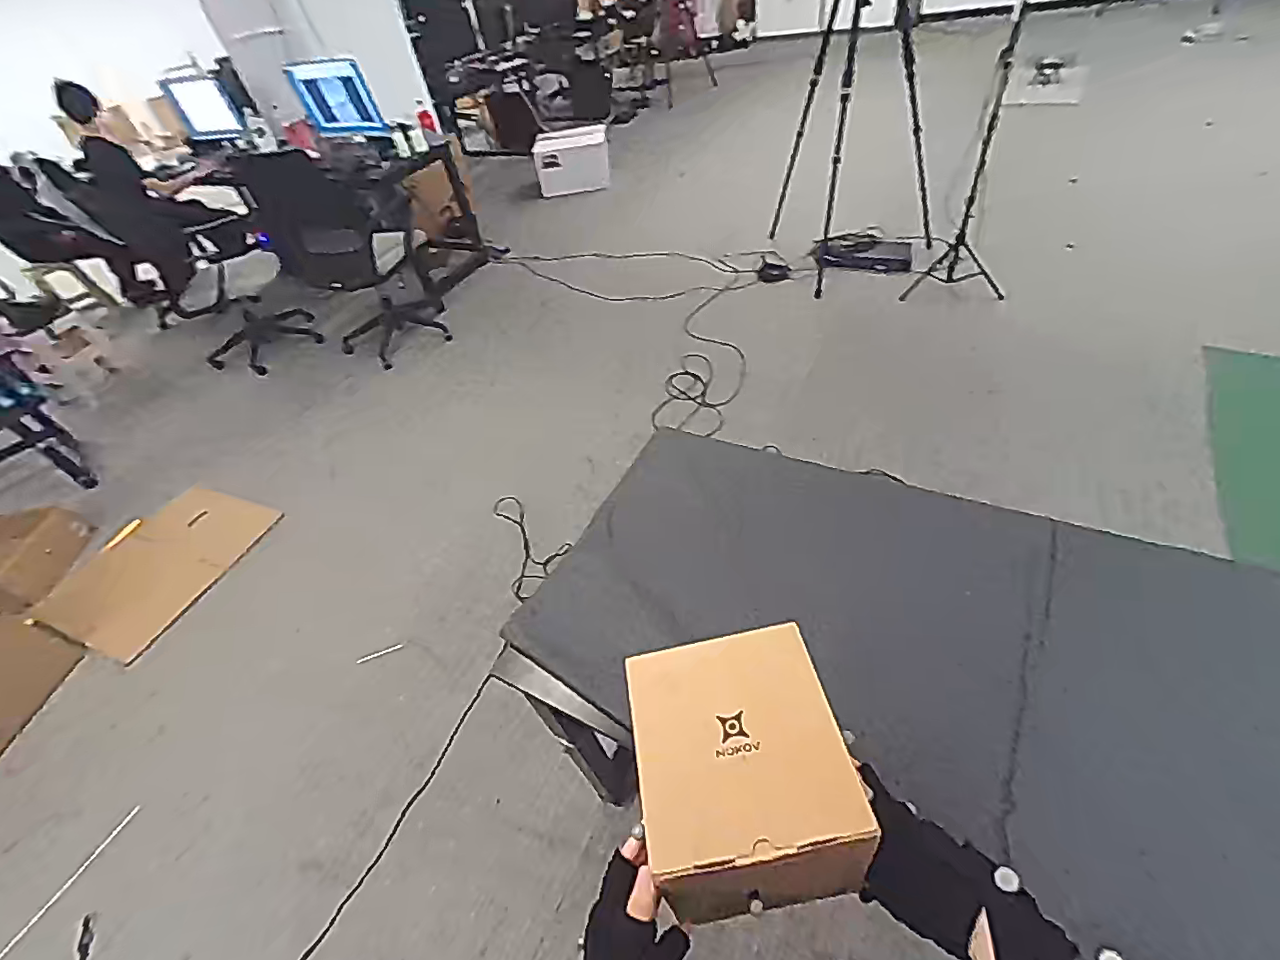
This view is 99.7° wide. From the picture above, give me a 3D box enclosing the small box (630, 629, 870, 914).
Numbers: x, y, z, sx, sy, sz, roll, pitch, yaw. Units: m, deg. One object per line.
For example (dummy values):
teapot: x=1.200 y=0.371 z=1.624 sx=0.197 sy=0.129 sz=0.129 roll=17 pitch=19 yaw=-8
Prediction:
small box: x=0.090 y=0.272 z=0.508 sx=0.168 sy=0.176 sz=0.179 roll=-12 pitch=43 yaw=1
